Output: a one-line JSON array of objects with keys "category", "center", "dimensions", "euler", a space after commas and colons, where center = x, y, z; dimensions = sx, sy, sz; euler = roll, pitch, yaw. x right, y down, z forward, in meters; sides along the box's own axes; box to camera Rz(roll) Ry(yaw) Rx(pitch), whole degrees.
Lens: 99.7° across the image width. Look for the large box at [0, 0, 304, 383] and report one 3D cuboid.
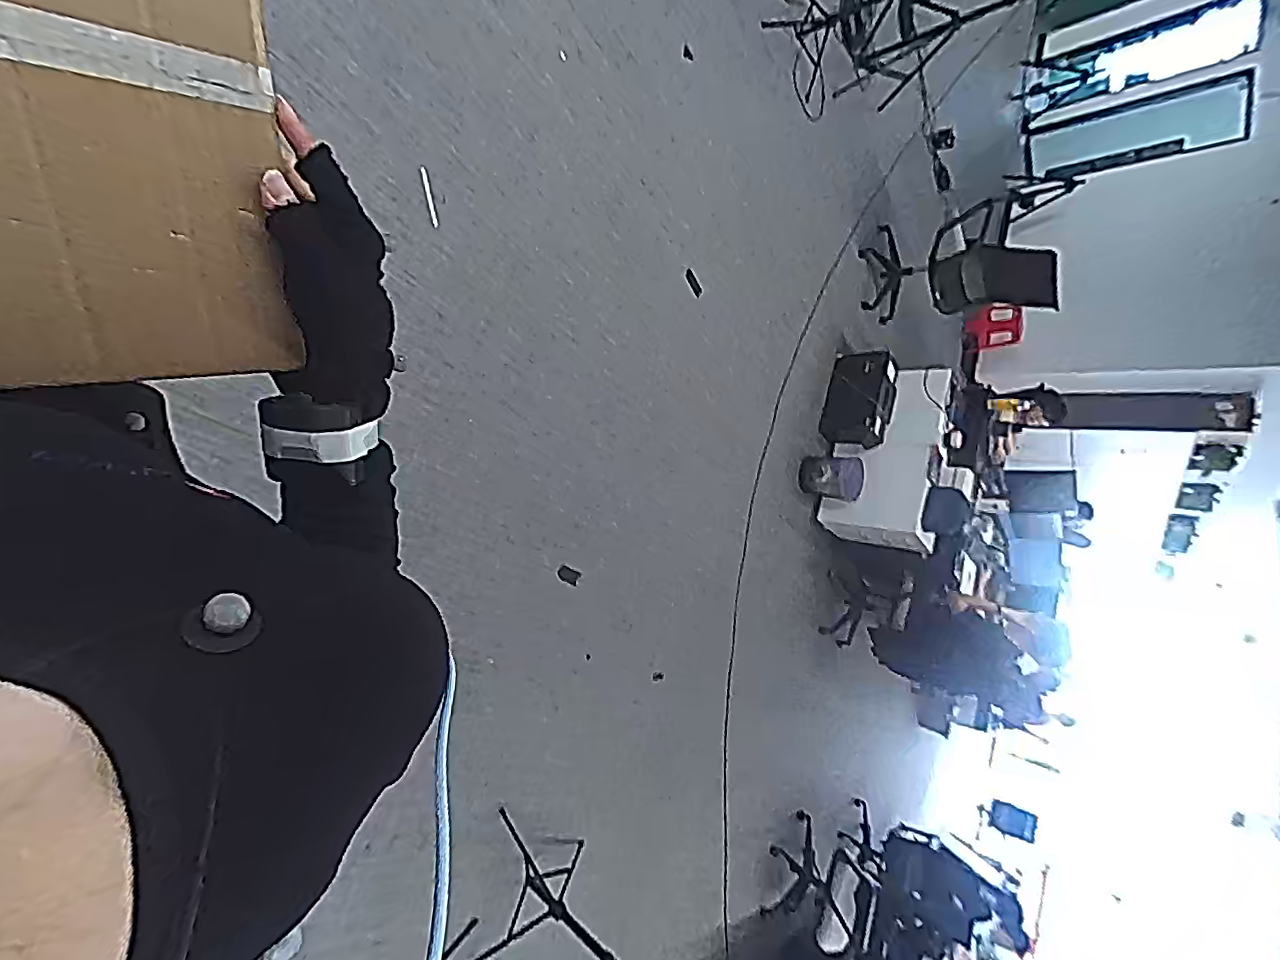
[{"category": "large box", "center": [-0.457, -0.233, 0.269], "dimensions": [0.408, 0.320, 0.320], "euler": [-16, 126, -41]}]
